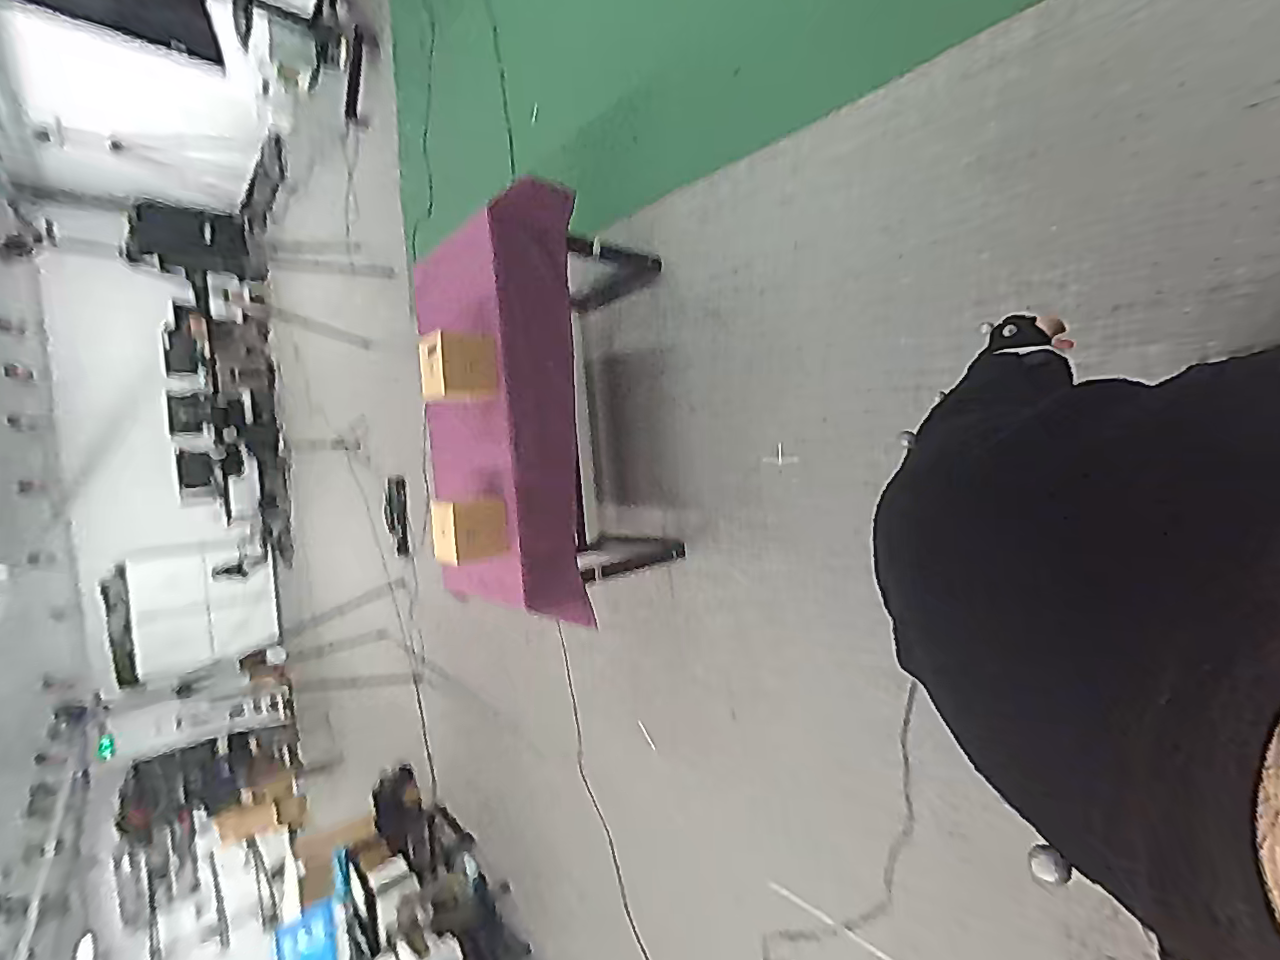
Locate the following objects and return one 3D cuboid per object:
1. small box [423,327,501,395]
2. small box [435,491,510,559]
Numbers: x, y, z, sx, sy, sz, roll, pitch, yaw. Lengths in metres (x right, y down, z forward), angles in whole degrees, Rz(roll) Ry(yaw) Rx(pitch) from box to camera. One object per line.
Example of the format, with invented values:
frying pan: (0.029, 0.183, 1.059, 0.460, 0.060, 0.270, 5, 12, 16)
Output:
small box: (-0.533, -0.352, 1.625, 0.168, 0.176, 0.179, 2, 97, 48)
small box: (-0.512, 0.133, 1.662, 0.168, 0.176, 0.179, 3, 97, 47)
